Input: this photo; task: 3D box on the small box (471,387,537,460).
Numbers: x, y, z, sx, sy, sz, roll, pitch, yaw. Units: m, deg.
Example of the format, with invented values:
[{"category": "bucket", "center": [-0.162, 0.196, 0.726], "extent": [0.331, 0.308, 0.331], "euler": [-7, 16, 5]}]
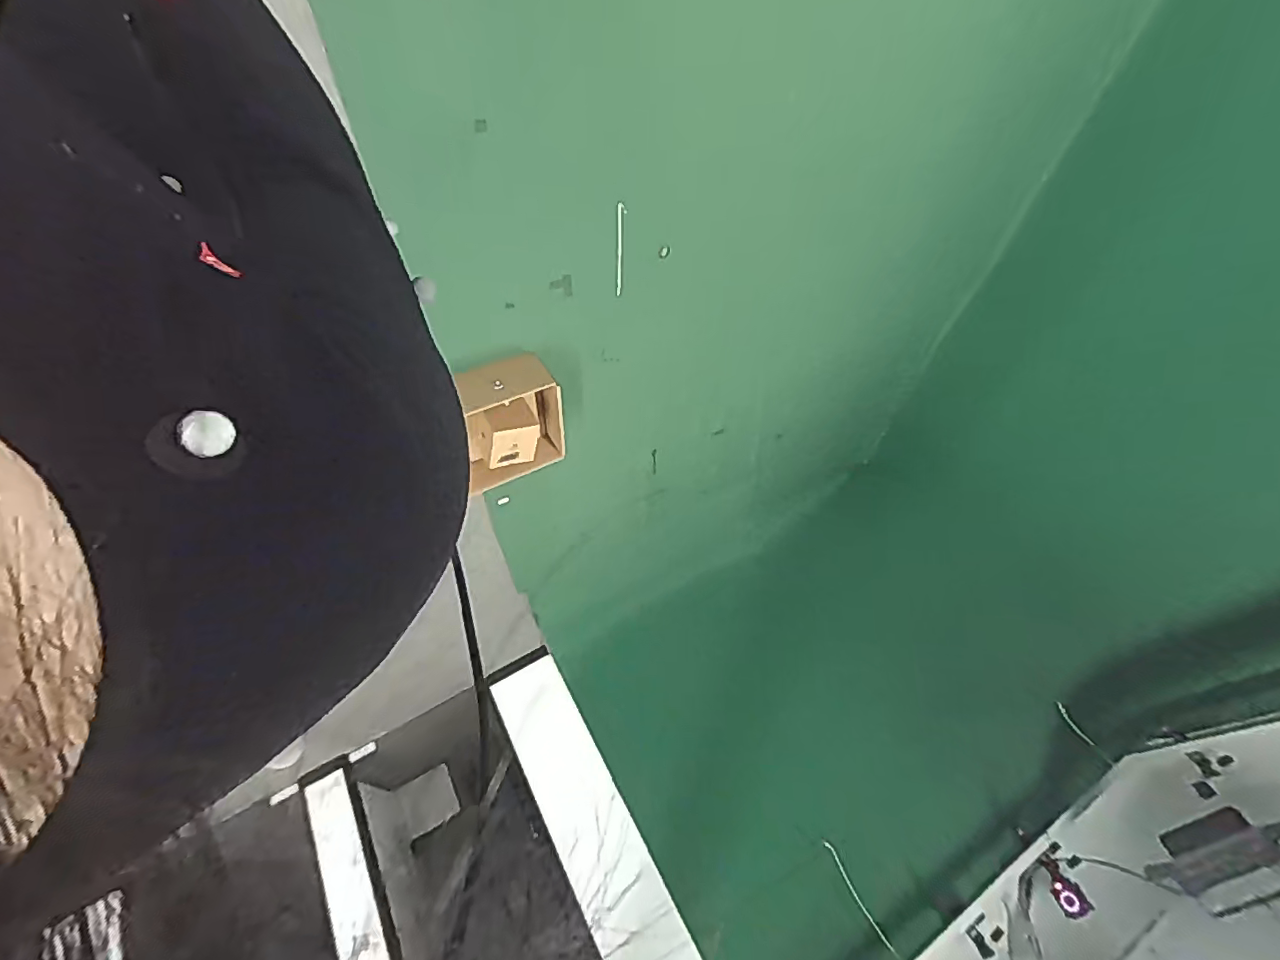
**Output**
[{"category": "small box", "center": [-0.474, -0.198, 1.866], "extent": [0.168, 0.176, 0.179], "euler": [-14, 146, -32]}]

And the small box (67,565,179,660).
[{"category": "small box", "center": [-1.373, 0.345, 1.444], "extent": [0.168, 0.176, 0.179], "euler": [-16, 146, -26]}]
